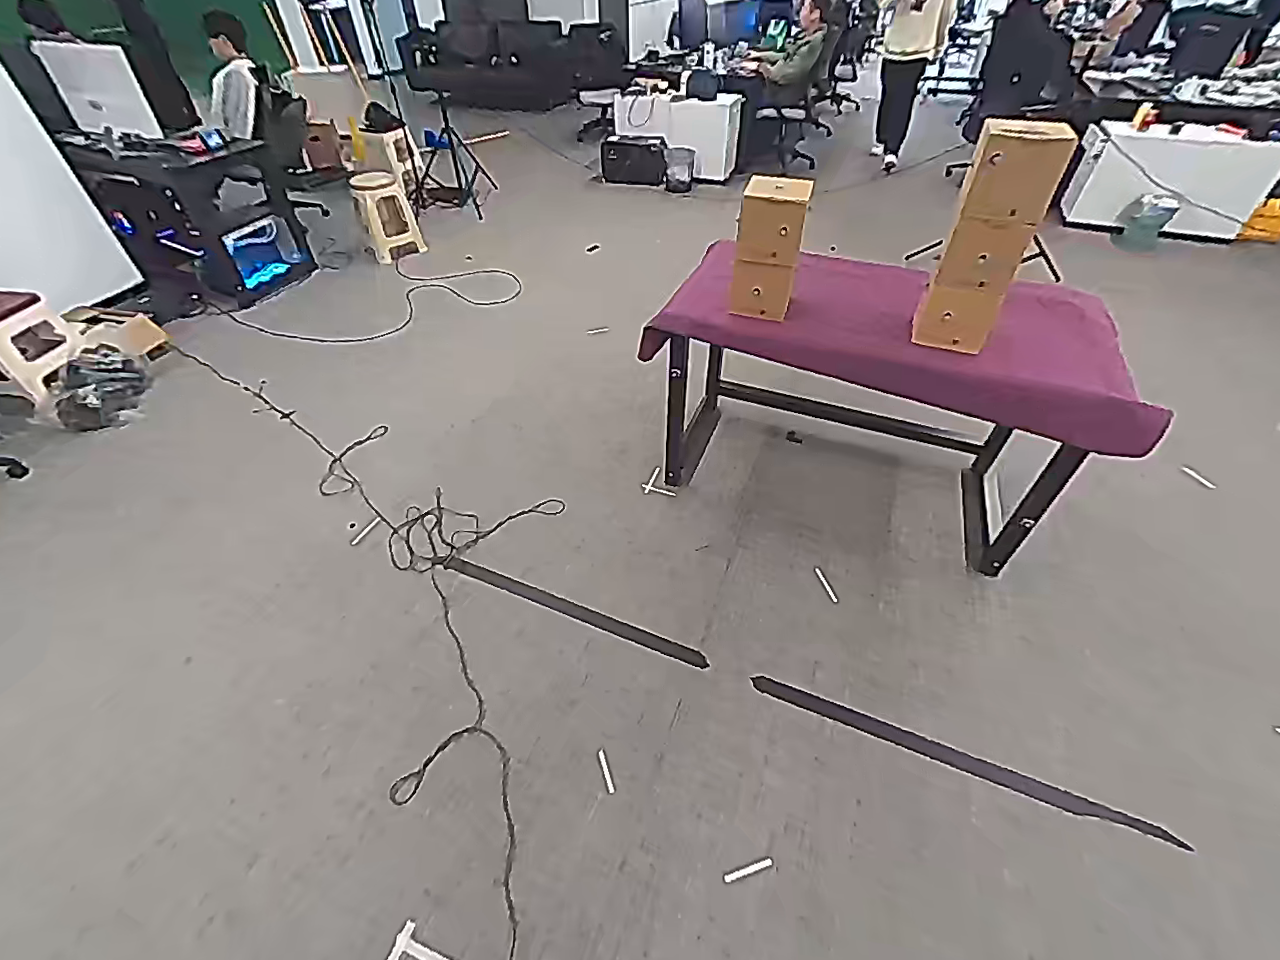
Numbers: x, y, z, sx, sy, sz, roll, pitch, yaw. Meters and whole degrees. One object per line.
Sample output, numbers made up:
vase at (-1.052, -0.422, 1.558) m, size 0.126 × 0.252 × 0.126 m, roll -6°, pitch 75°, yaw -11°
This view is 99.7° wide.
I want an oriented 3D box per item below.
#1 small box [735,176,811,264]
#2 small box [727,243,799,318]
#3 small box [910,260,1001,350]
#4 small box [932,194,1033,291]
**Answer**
small box at (0.357, -0.704, 1.465) m, size 0.168 × 0.176 × 0.179 m, roll 12°, pitch 45°, yaw 11°
small box at (0.357, -0.594, 1.585) m, size 0.168 × 0.176 × 0.179 m, roll 13°, pitch 45°, yaw 13°
small box at (0.847, -0.472, 1.462) m, size 0.168 × 0.176 × 0.179 m, roll 16°, pitch 46°, yaw 16°
small box at (0.848, -0.592, 1.351) m, size 0.168 × 0.176 × 0.179 m, roll 16°, pitch 47°, yaw 17°
